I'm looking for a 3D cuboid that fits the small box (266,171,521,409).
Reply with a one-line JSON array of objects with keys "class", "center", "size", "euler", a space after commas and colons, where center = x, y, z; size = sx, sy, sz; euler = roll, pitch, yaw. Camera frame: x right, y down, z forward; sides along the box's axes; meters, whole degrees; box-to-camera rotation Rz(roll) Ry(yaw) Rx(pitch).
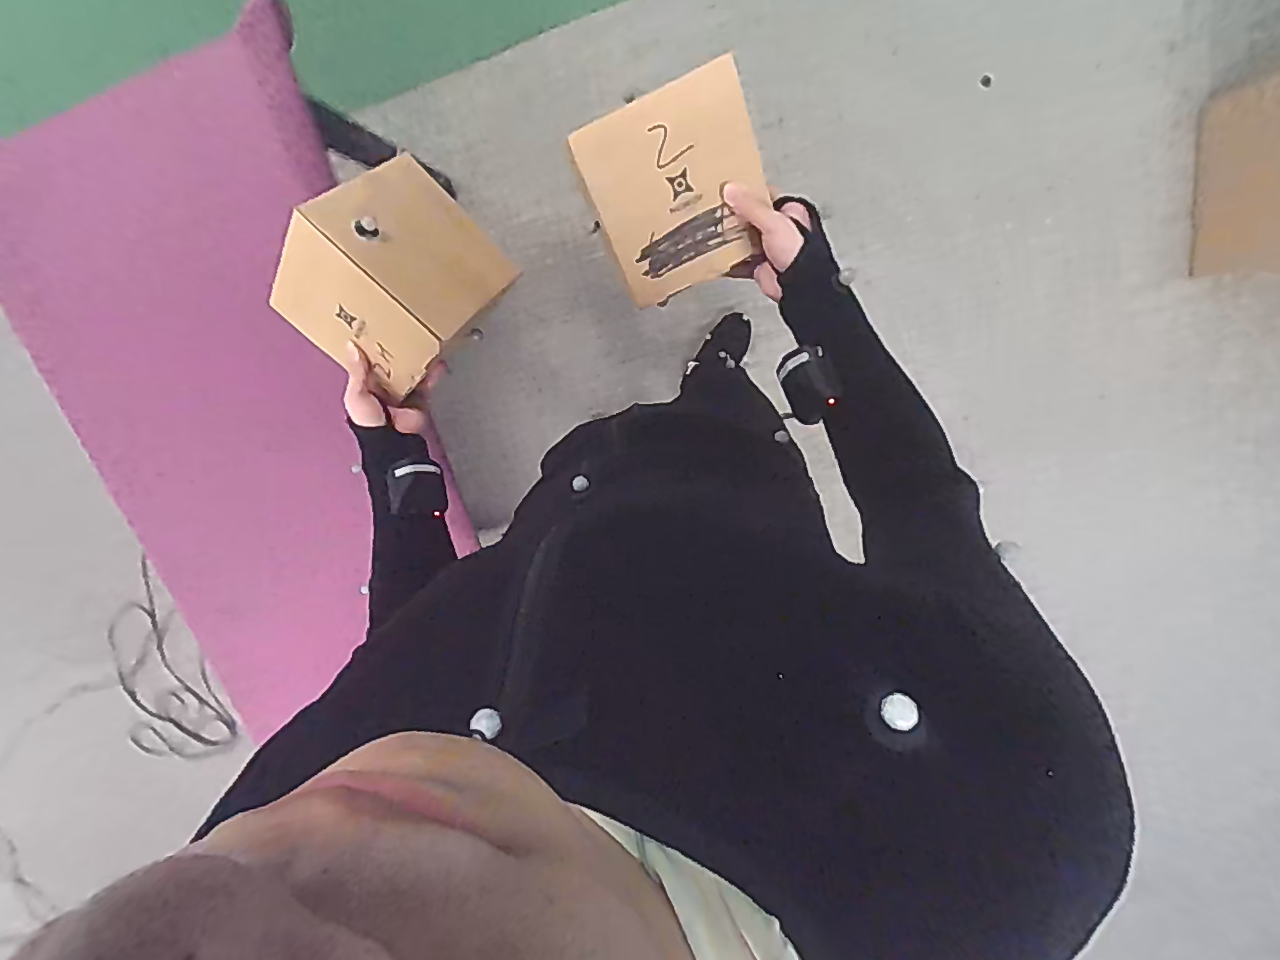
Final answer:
[{"class": "small box", "center": [-0.275, -0.221, 0.622], "size": [0.179, 0.176, 0.168], "euler": [44, 138, -20]}]
